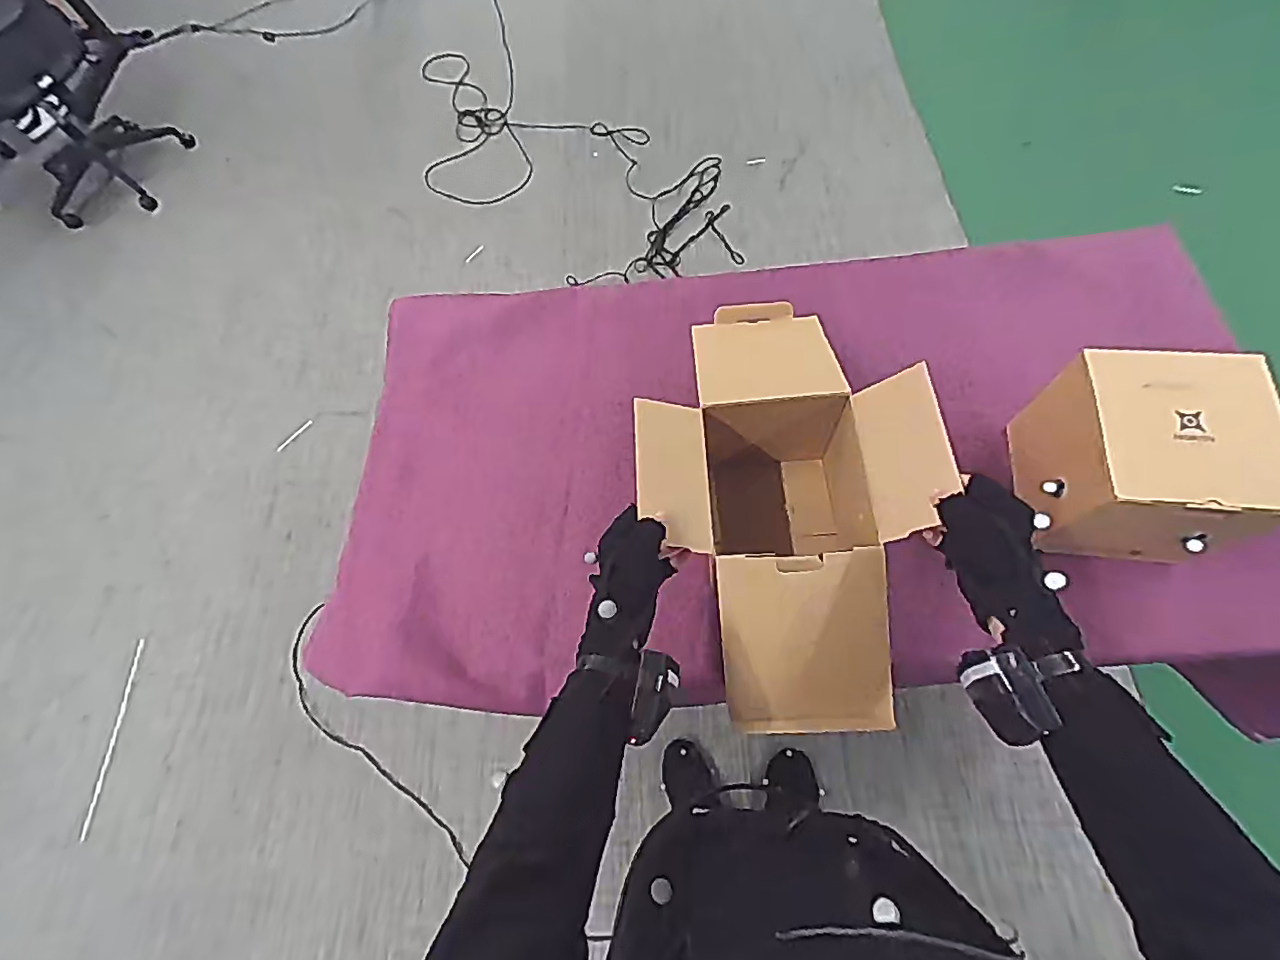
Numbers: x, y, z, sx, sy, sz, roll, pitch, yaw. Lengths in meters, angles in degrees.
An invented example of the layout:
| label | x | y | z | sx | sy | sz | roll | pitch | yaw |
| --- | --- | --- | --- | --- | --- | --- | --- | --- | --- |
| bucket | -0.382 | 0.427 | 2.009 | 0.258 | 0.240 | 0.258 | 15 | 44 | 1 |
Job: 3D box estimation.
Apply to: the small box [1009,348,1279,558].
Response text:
| label | x | y | z | sx | sy | sz | roll | pitch | yaw |
| --- | --- | --- | --- | --- | --- | --- | --- | --- | --- |
| small box | 0.543 | -0.022 | 0.597 | 0.168 | 0.176 | 0.179 | 5 | 67 | 10 |
